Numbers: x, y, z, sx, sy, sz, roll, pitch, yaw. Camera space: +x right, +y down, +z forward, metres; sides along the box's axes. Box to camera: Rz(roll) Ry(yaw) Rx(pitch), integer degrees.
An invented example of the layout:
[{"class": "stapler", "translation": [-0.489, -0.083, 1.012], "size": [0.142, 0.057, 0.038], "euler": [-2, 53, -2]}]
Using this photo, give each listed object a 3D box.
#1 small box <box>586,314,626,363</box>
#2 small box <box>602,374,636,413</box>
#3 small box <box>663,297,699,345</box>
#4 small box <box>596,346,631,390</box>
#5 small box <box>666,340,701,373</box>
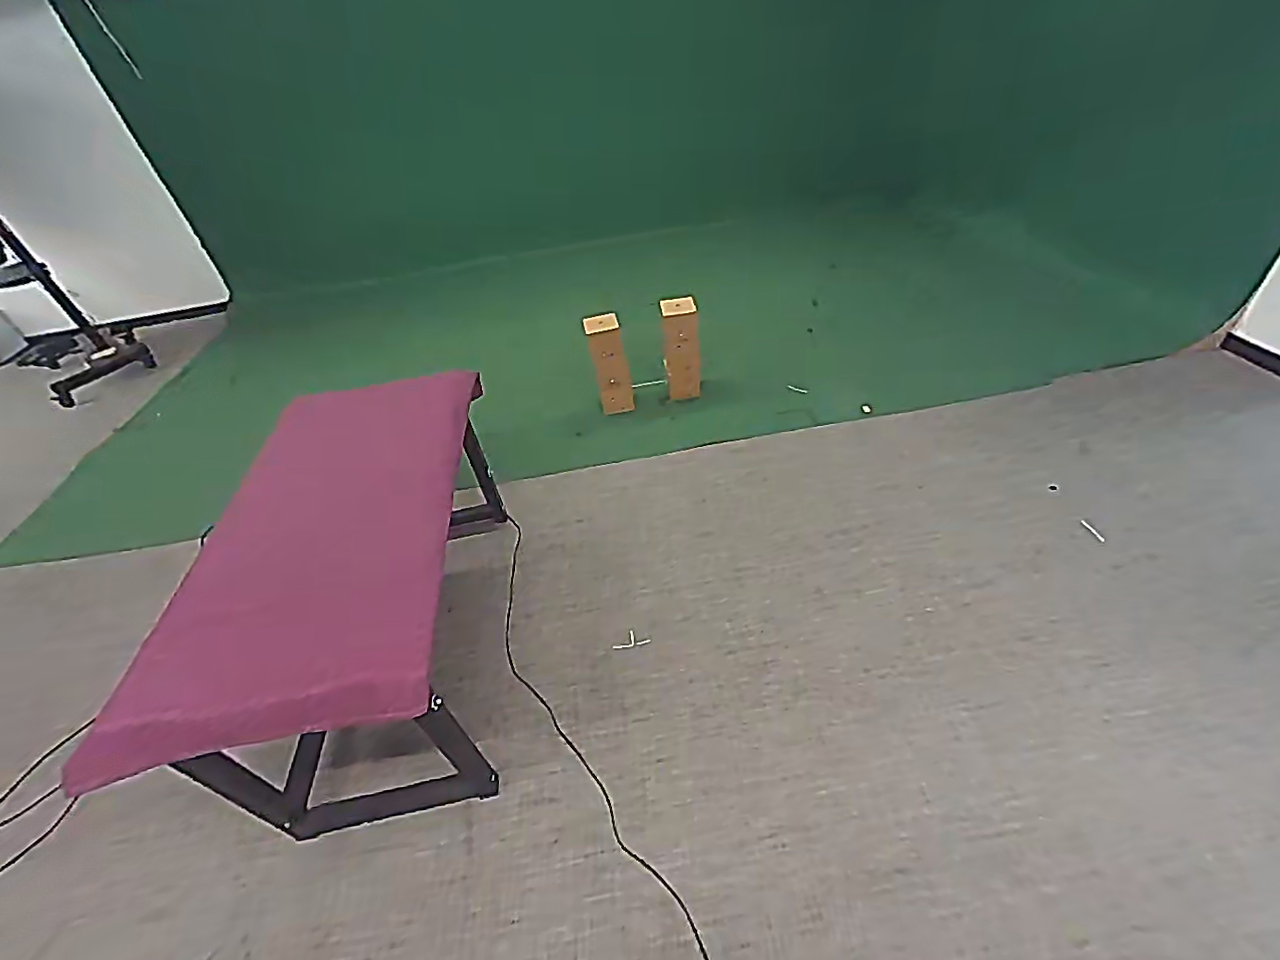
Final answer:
[{"class": "small box", "translation": [-0.172, -0.711, 2.714], "size": [0.168, 0.176, 0.179], "euler": [-13, 41, -2]}, {"class": "small box", "translation": [-0.117, -0.477, 2.936], "size": [0.168, 0.176, 0.179], "euler": [-10, 41, 0]}, {"class": "small box", "translation": [0.206, -0.805, 2.743], "size": [0.168, 0.176, 0.179], "euler": [-7, 42, 2]}, {"class": "small box", "translation": [-0.145, -0.593, 2.822], "size": [0.168, 0.176, 0.179], "euler": [-12, 42, -2]}, {"class": "small box", "translation": [0.227, -0.686, 2.856], "size": [0.168, 0.176, 0.179], "euler": [-8, 41, 1]}]
